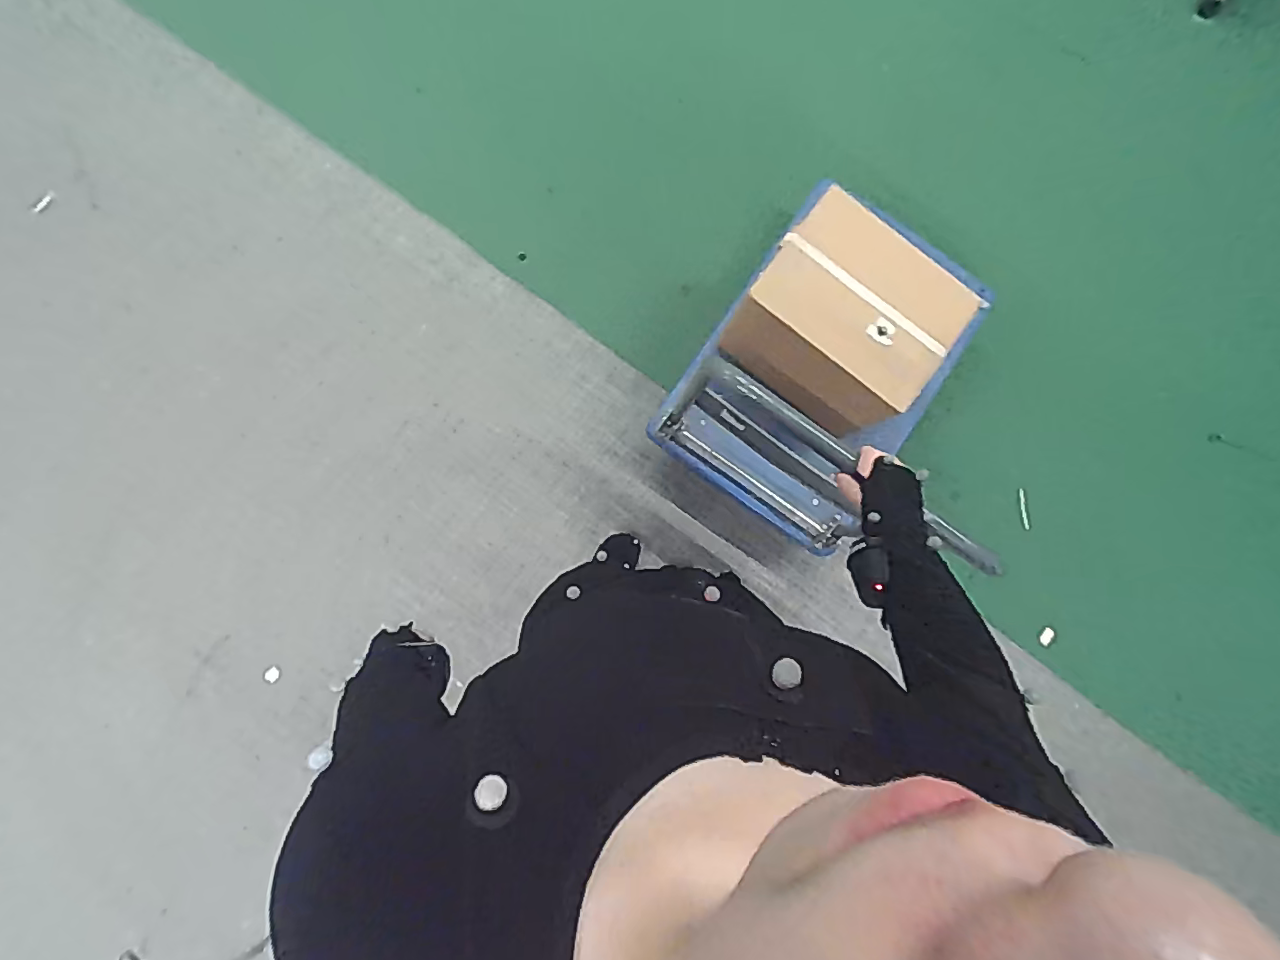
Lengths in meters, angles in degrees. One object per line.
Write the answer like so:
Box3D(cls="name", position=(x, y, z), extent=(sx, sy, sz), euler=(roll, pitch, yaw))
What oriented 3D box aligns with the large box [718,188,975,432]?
Box3D(cls="large box", position=(0.457, -0.373, 1.279), extent=(0.408, 0.320, 0.320), euler=(38, 84, 0))
